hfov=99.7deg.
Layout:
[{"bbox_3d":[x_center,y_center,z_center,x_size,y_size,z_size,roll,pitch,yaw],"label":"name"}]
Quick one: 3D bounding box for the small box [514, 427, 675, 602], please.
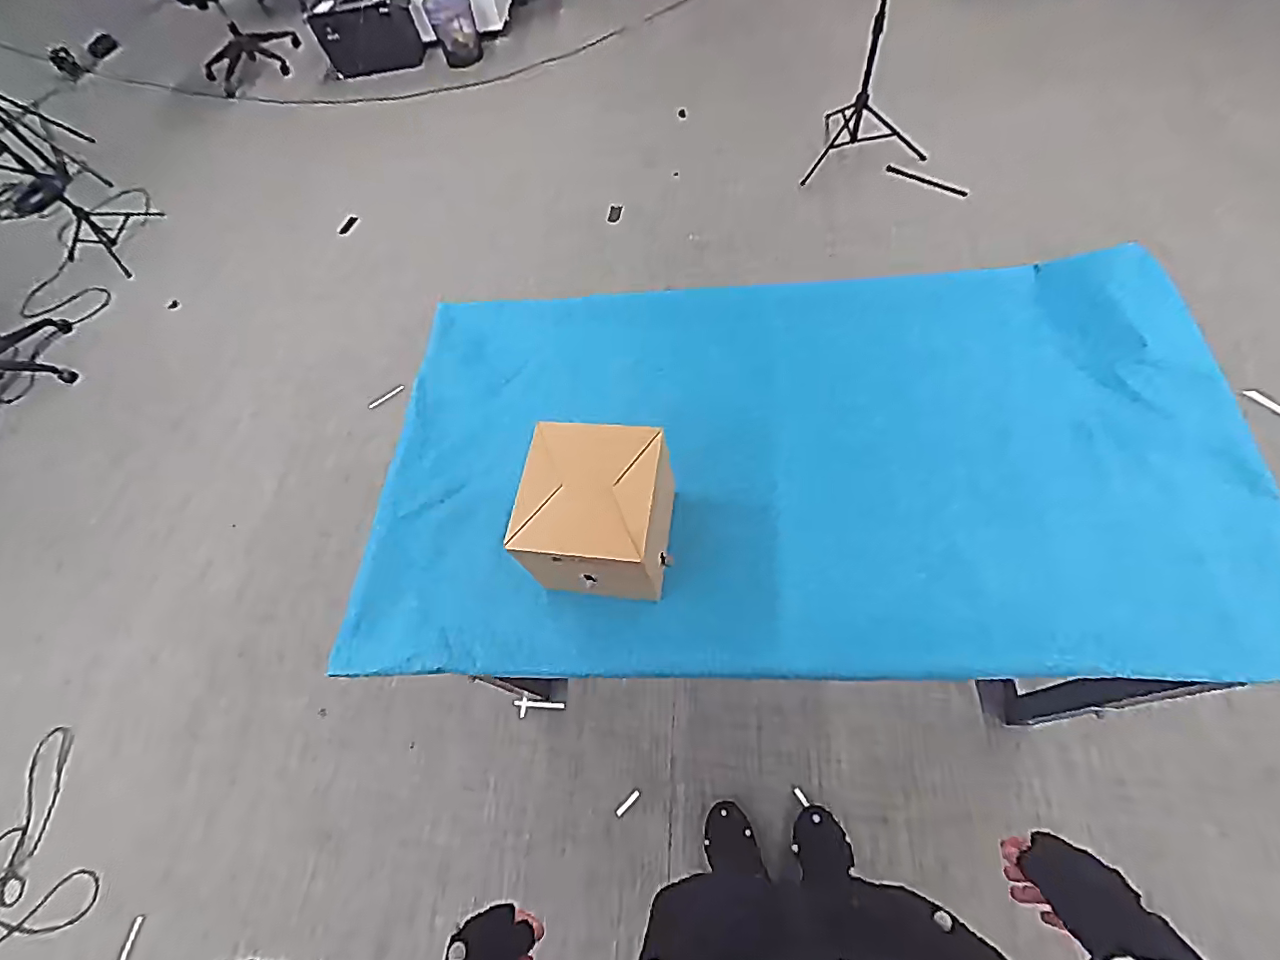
[{"bbox_3d":[-0.050,0.048,0.716,0.168,0.176,0.179,3,63,11],"label":"small box"}]
